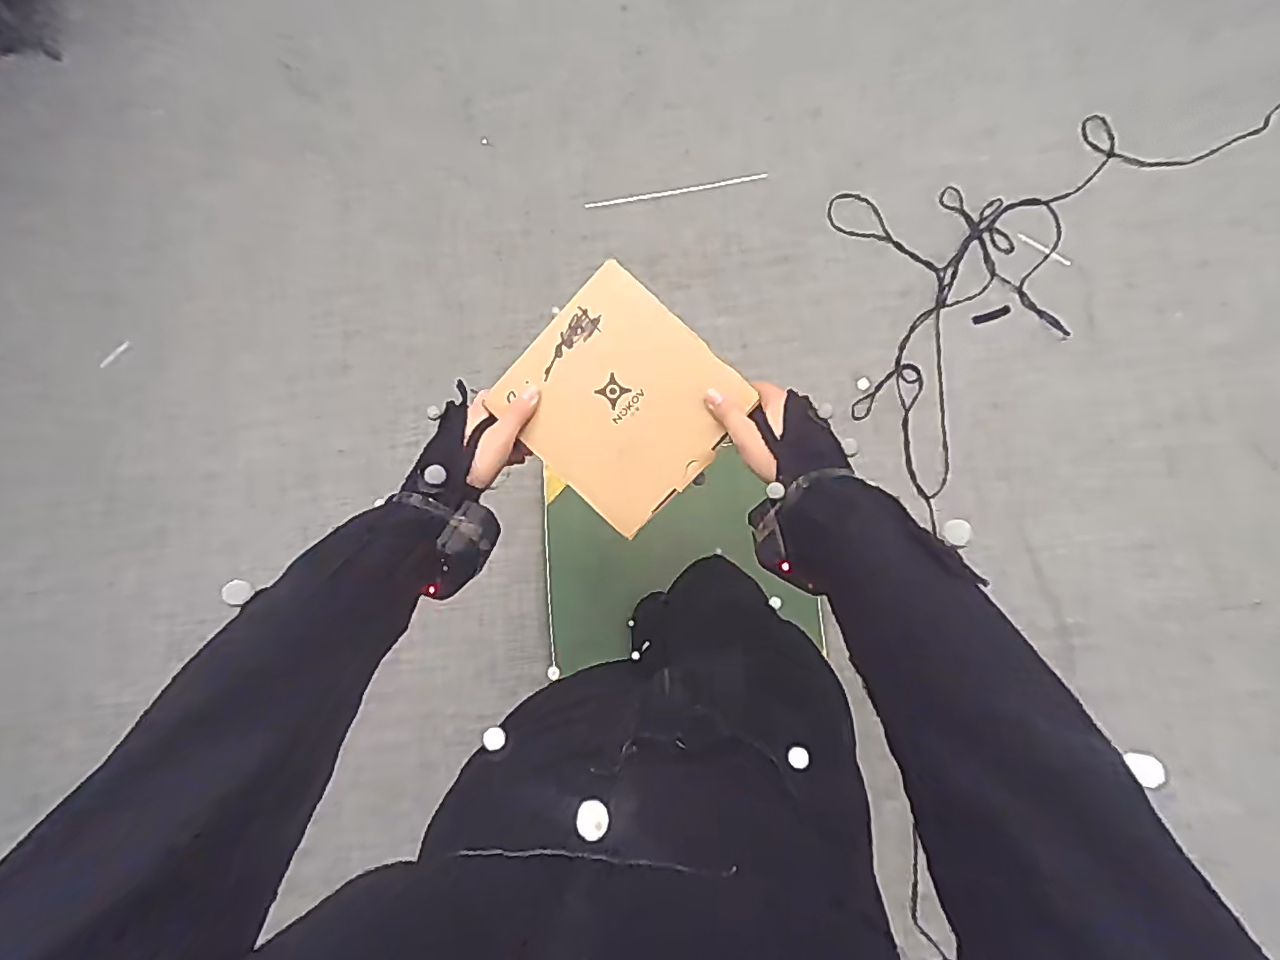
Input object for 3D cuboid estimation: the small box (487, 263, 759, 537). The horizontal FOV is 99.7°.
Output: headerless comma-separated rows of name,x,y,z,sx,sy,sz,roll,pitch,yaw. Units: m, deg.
small box,-0.011,-0.070,0.536,0.179,0.176,0.168,43,92,1
